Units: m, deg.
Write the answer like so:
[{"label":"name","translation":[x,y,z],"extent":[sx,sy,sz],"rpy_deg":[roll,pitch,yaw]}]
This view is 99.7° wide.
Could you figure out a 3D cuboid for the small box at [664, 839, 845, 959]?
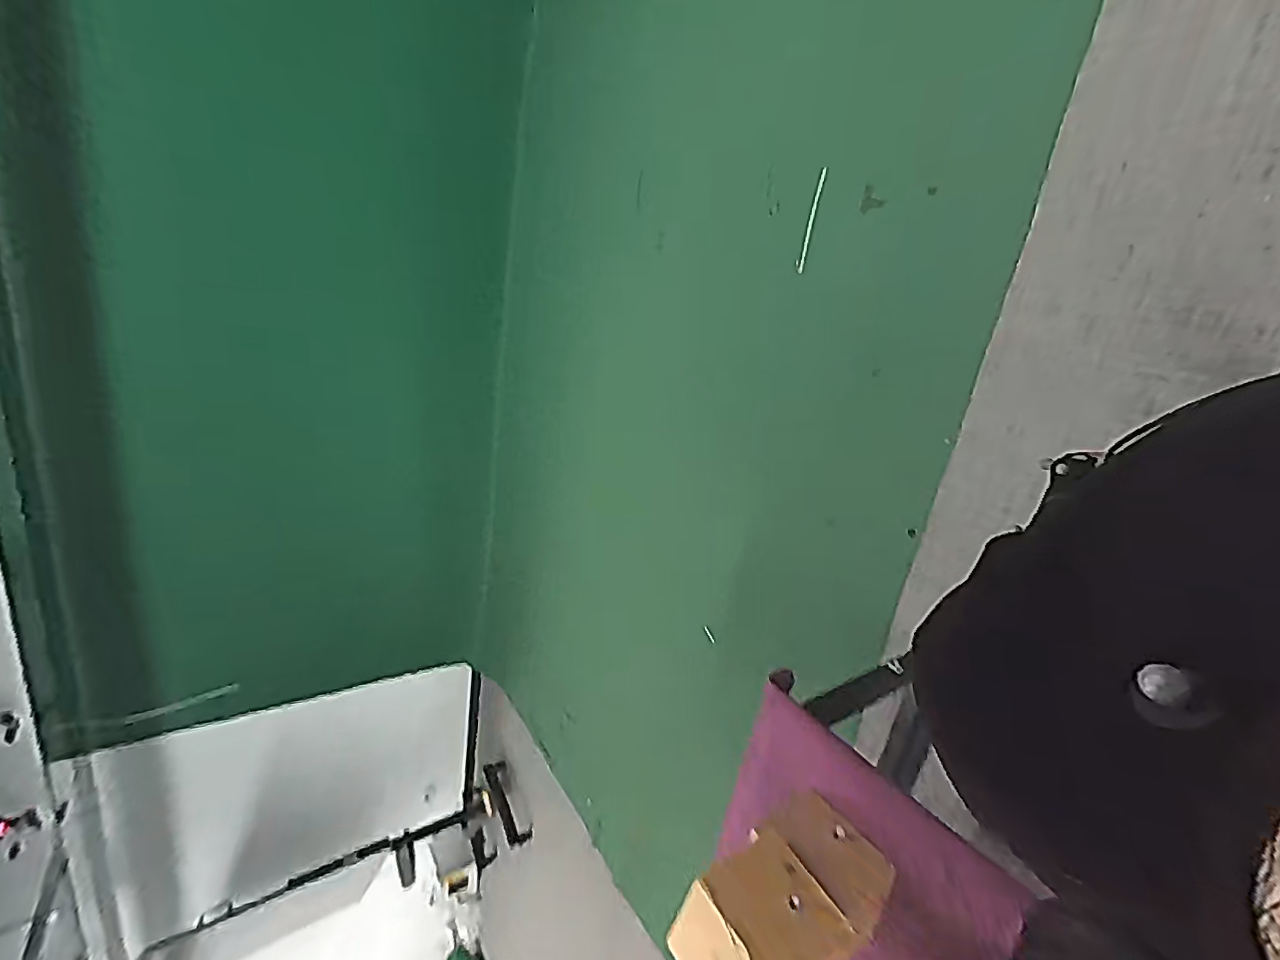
[{"label":"small box","translation":[0.165,0.679,0.788],"extent":[0.168,0.176,0.179],"rpy_deg":[40,123,45]}]

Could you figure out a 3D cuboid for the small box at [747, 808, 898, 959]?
[{"label":"small box","translation":[0.286,0.686,0.900],"extent":[0.179,0.176,0.168],"rpy_deg":[31,118,50]}]
